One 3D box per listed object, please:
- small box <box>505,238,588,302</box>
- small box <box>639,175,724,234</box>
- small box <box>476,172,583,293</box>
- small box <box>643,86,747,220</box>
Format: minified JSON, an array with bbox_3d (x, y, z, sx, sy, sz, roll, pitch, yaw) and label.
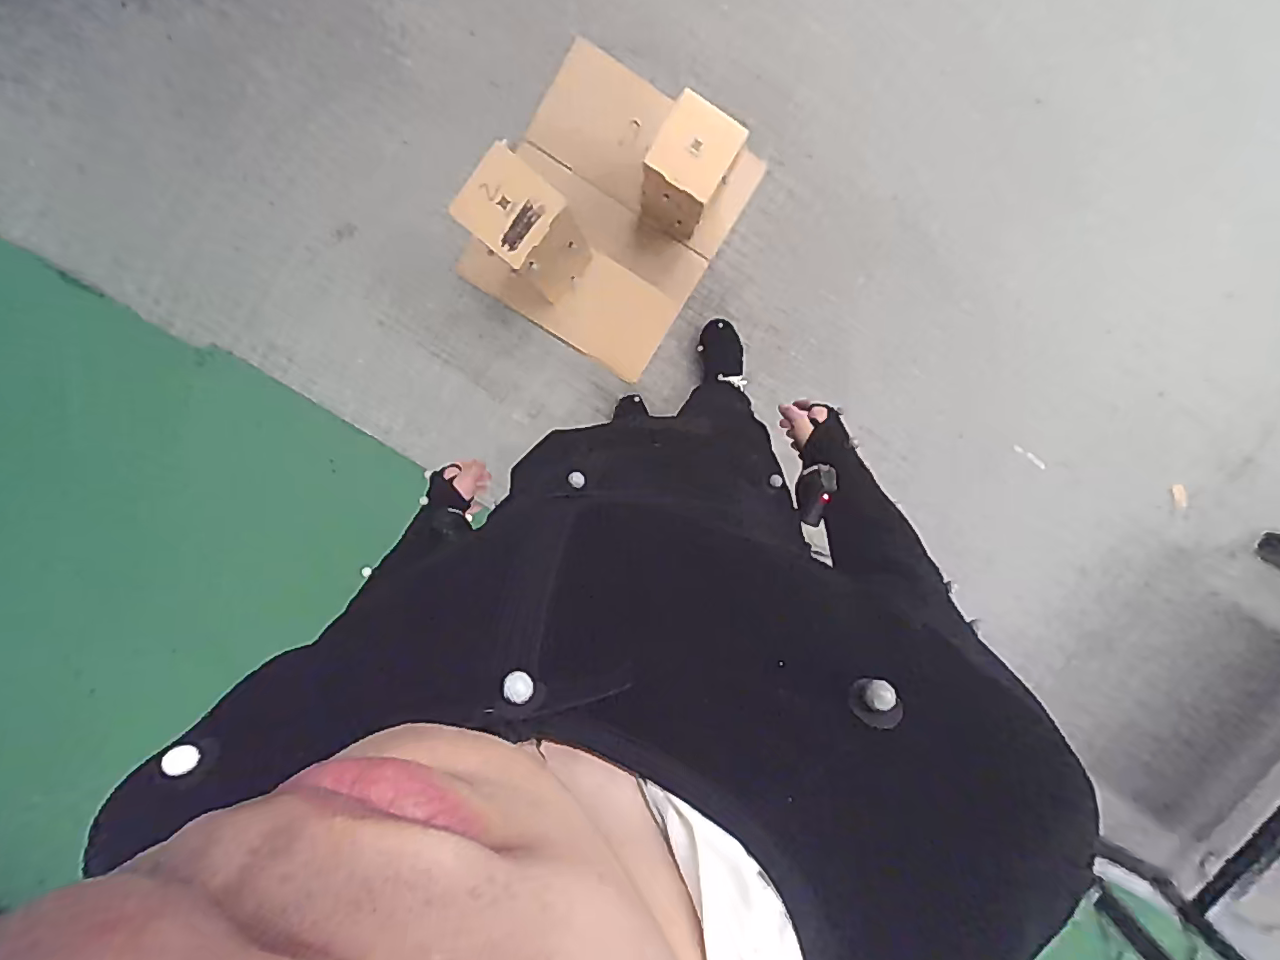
[{"bbox_3d":[-0.253,-0.601,1.433,0.168,0.176,0.179,40,99,-6],"label":"small box"},{"bbox_3d":[0.114,-0.770,1.396,0.168,0.176,0.179,32,100,-5],"label":"small box"},{"bbox_3d":[-0.249,-0.569,1.271,0.168,0.176,0.179,39,99,-5],"label":"small box"},{"bbox_3d":[0.116,-0.736,1.238,0.168,0.176,0.179,31,101,-5],"label":"small box"}]
